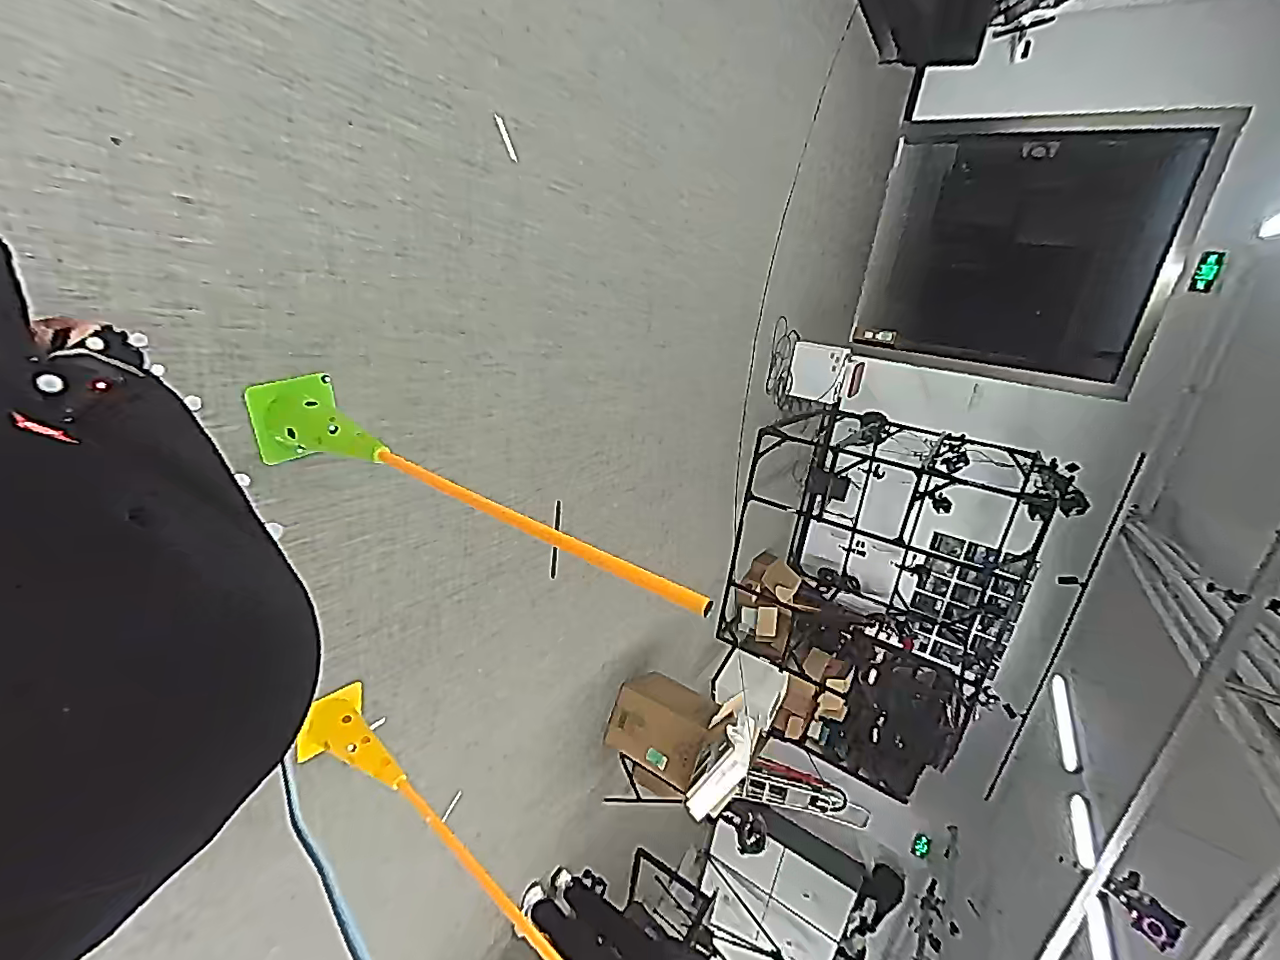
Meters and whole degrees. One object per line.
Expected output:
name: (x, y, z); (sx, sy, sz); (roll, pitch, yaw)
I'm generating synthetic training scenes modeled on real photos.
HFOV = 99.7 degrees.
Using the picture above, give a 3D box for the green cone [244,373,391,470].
green cone: (-0.713, -0.100, 1.259); (0.200, 0.368, 0.202); (-33, 135, -49)
